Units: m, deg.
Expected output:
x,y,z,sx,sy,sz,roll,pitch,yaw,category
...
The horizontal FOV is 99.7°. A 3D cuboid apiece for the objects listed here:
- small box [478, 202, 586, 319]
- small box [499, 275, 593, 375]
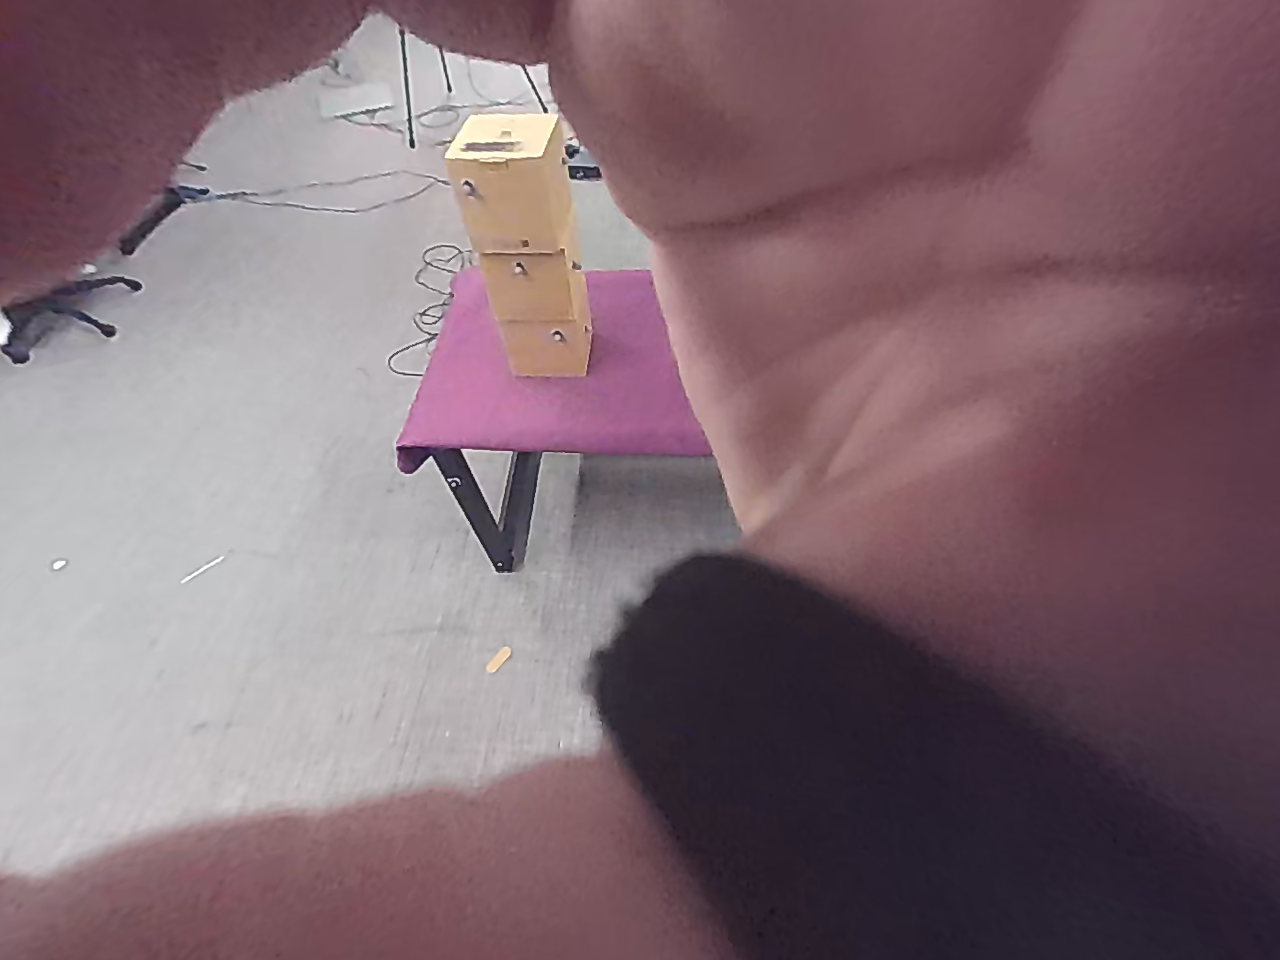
x,y,z,sx,sy,sz,roll,pitch,yaw,category
-0.213,-0.452,1.124,0.179,0.176,0.168,1,55,4,small box
-0.207,-0.360,1.257,0.179,0.176,0.168,2,54,3,small box
